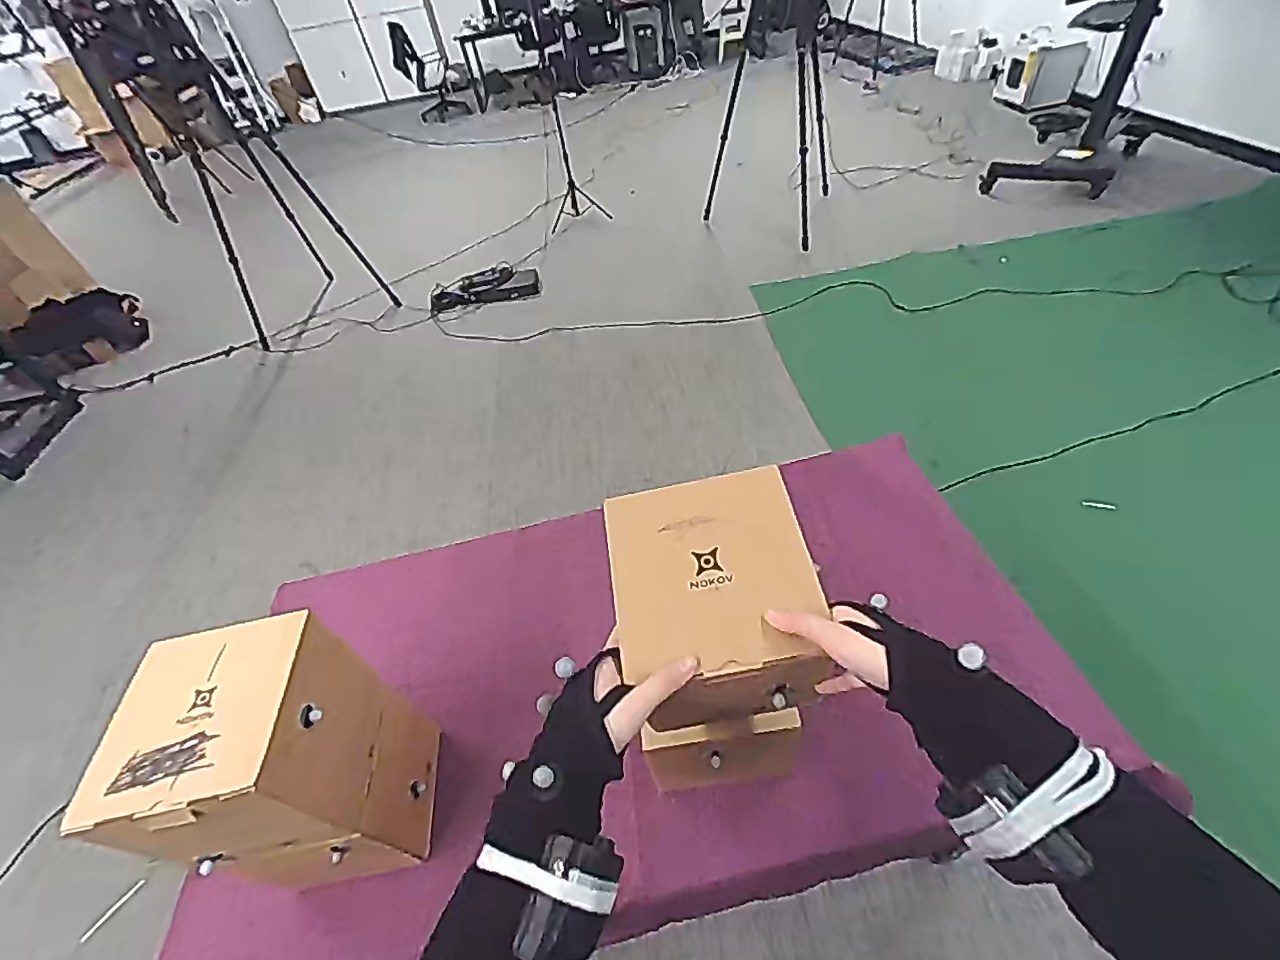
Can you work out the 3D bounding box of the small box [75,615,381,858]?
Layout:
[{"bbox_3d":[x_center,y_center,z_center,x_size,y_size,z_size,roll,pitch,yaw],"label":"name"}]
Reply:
[{"bbox_3d":[-0.400,0.275,0.571,0.168,0.176,0.179,-13,45,-1],"label":"small box"}]

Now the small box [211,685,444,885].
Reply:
[{"bbox_3d":[-0.373,0.389,0.686,0.179,0.176,0.168,-12,46,-1],"label":"small box"}]

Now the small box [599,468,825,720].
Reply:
[{"bbox_3d":[0.065,0.119,0.518,0.168,0.176,0.179,-12,53,4],"label":"small box"}]

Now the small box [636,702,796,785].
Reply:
[{"bbox_3d":[0.091,0.273,0.693,0.179,0.176,0.168,-10,47,3],"label":"small box"}]
